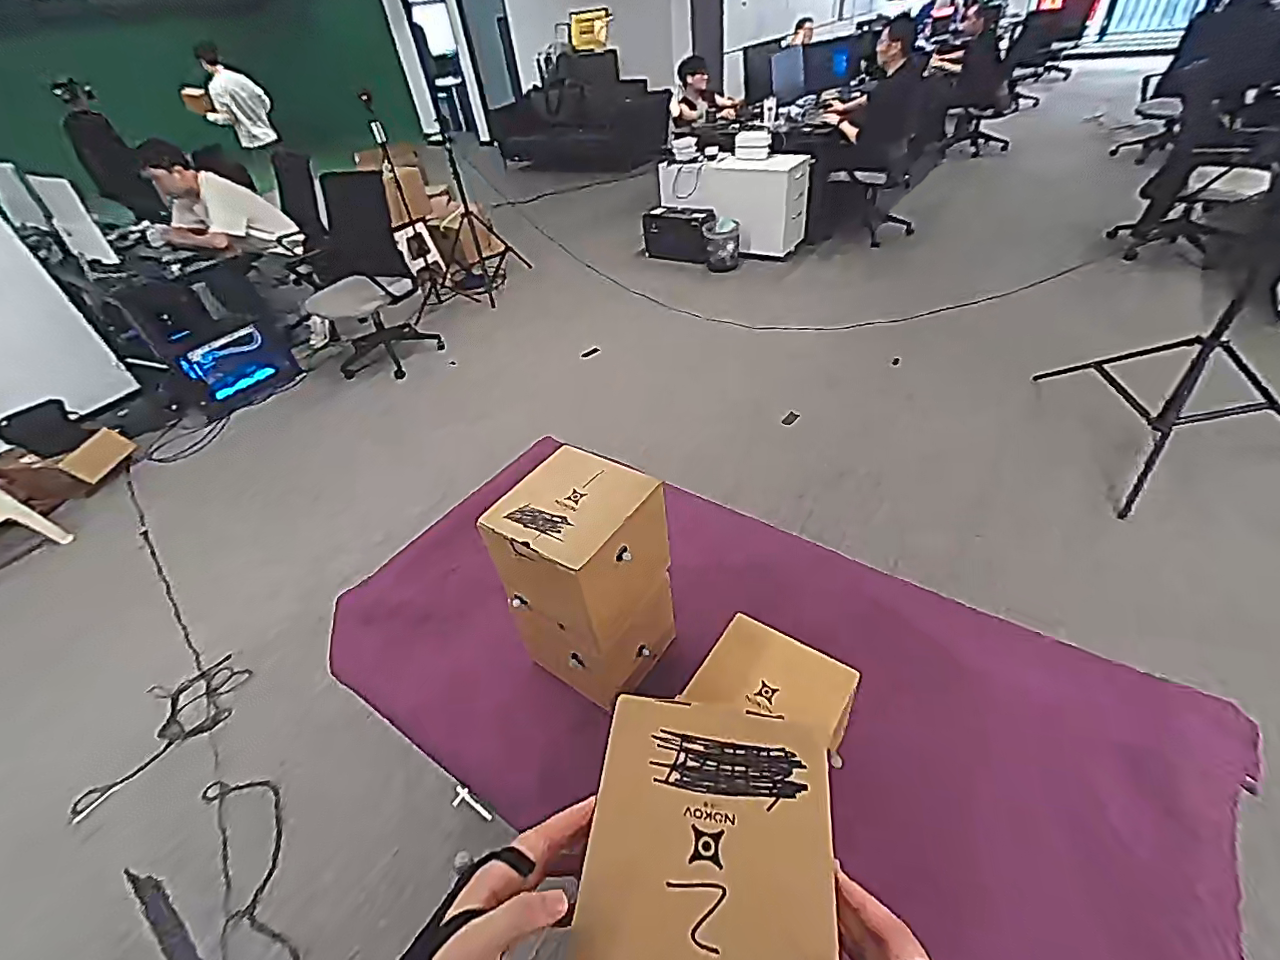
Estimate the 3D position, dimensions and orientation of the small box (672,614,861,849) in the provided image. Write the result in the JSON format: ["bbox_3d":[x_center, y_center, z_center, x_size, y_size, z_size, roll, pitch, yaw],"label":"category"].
[{"bbox_3d":[0.156,0.313,0.683,0.168,0.176,0.179,22,49,30],"label":"small box"}]

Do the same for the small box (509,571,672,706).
[{"bbox_3d":[-0.064,0.215,0.830,0.179,0.176,0.168,22,49,30],"label":"small box"}]

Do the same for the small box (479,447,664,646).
[{"bbox_3d":[-0.078,0.088,0.726,0.168,0.176,0.179,21,48,28],"label":"small box"}]
